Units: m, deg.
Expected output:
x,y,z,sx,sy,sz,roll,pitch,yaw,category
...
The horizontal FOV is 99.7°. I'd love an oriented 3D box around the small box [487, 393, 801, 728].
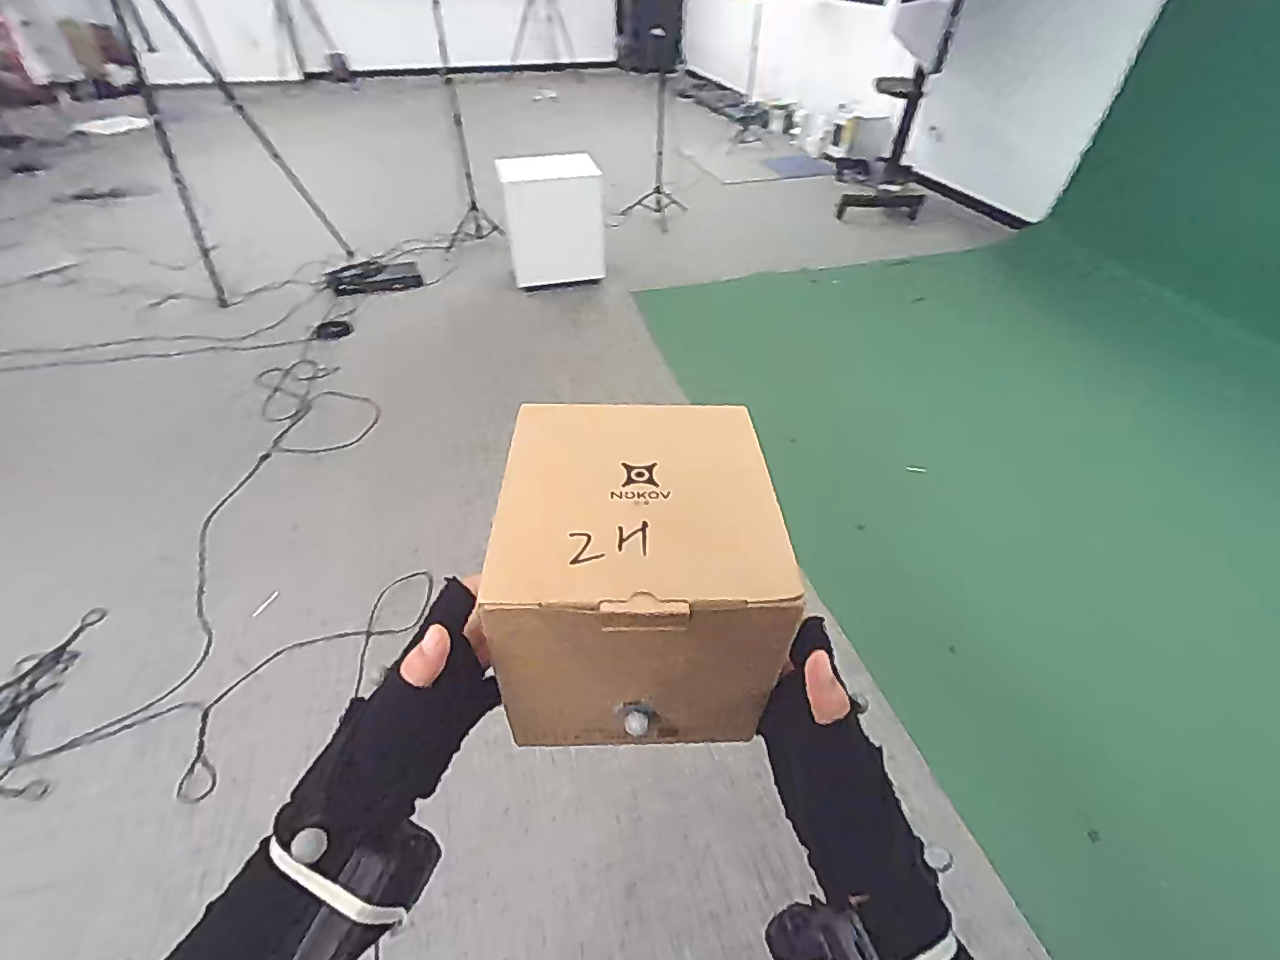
x,y,z,sx,sy,sz,roll,pitch,yaw,category
-0.003,0.055,0.390,0.168,0.176,0.179,-1,42,-3,small box
